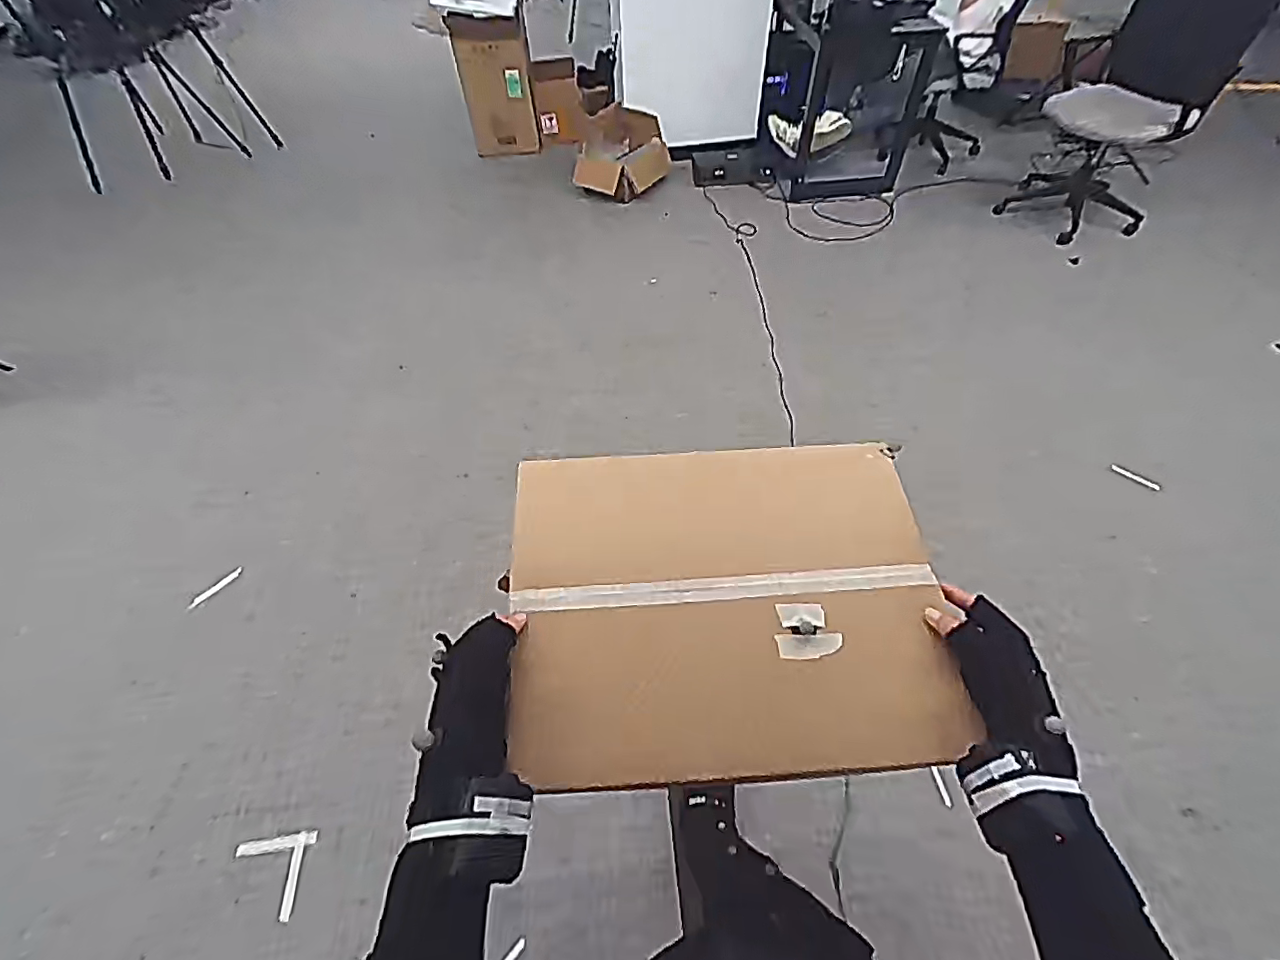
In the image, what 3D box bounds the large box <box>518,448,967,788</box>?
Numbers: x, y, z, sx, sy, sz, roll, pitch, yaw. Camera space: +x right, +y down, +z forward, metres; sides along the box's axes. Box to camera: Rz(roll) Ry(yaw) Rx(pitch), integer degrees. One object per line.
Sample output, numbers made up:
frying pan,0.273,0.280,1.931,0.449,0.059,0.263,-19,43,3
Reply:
large box,0.078,0.184,0.668,0.408,0.320,0.320,-3,60,-2
